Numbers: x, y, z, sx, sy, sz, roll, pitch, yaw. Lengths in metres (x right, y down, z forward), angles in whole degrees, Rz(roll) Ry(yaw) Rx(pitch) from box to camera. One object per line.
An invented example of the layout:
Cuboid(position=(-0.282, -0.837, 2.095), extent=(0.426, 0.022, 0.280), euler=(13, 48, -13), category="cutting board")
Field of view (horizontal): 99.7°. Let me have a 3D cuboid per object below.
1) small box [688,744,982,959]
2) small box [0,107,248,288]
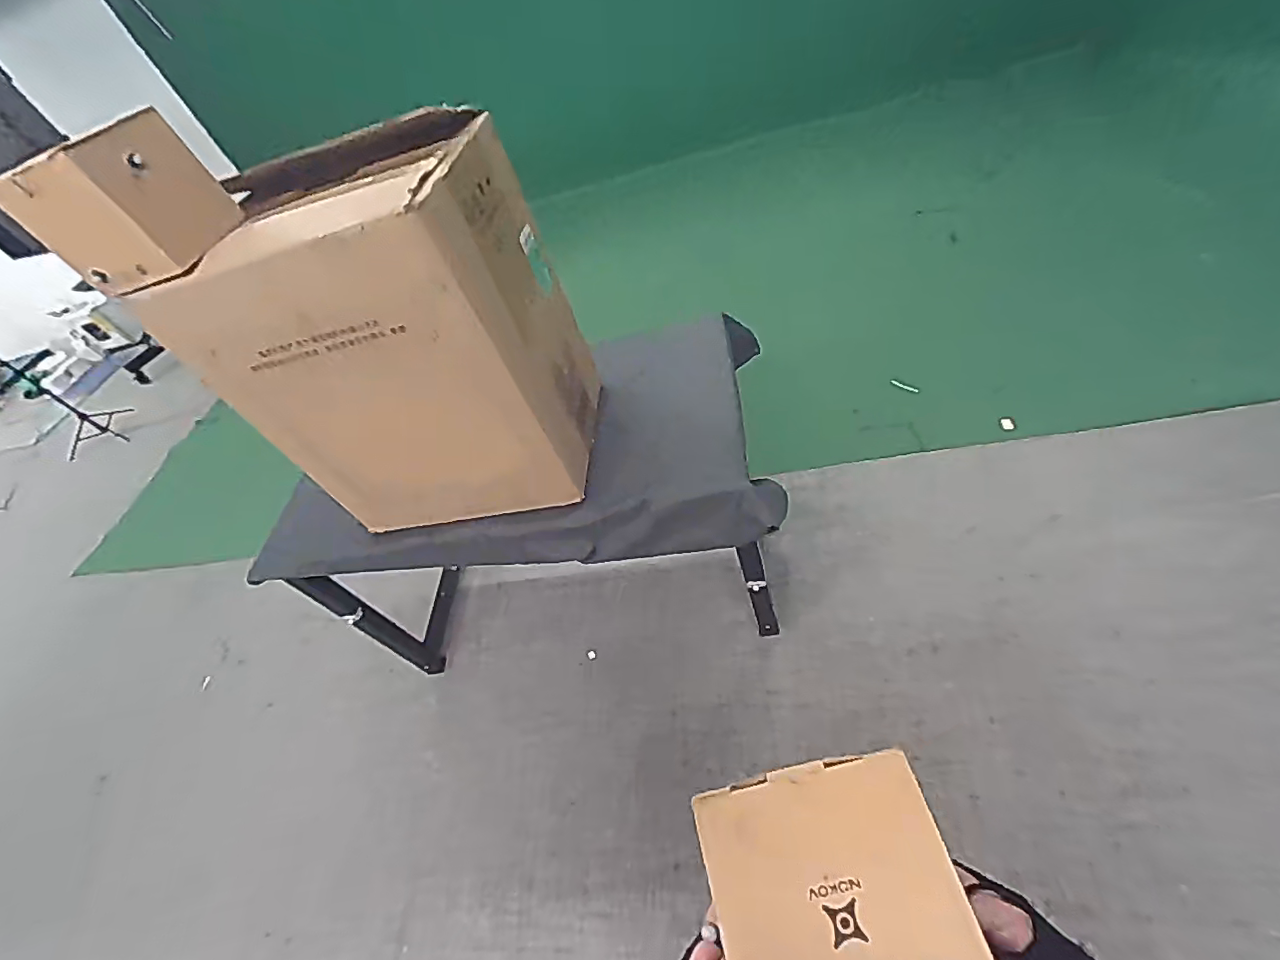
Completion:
Cuboid(position=(0.139, 0.331, 0.428), extent=(0.168, 0.176, 0.179), euler=(-14, 56, 1), category="small box")
Cuboid(position=(-0.739, -0.405, 0.798), extent=(0.168, 0.176, 0.179), euler=(-8, 48, 17), category="small box")
